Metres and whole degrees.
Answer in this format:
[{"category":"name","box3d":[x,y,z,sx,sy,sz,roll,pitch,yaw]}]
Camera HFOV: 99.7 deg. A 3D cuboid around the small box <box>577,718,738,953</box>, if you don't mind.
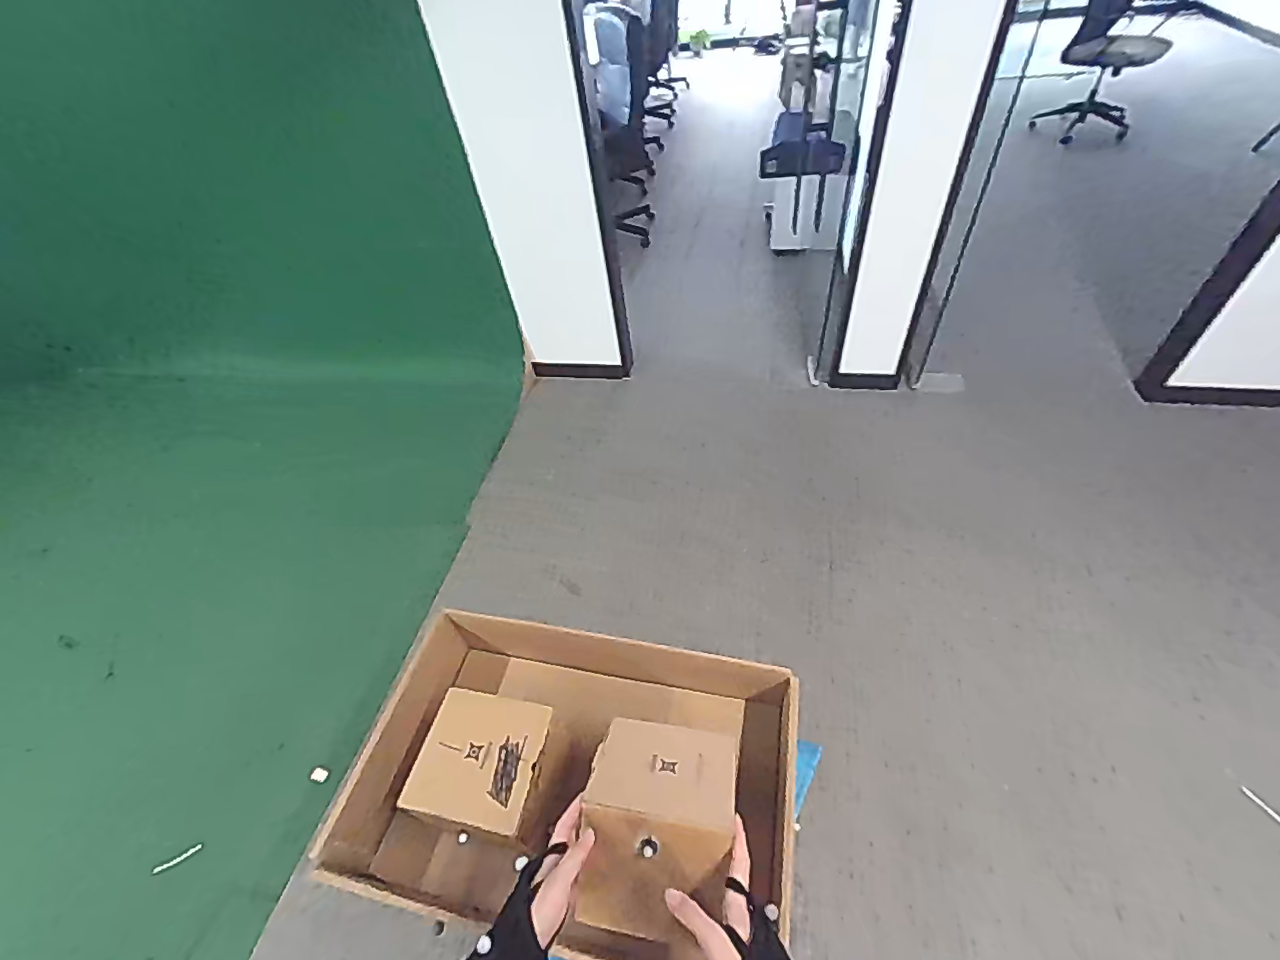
[{"category":"small box","box3d":[0.027,0.431,0.674,0.179,0.176,0.168,6,10,10]}]
